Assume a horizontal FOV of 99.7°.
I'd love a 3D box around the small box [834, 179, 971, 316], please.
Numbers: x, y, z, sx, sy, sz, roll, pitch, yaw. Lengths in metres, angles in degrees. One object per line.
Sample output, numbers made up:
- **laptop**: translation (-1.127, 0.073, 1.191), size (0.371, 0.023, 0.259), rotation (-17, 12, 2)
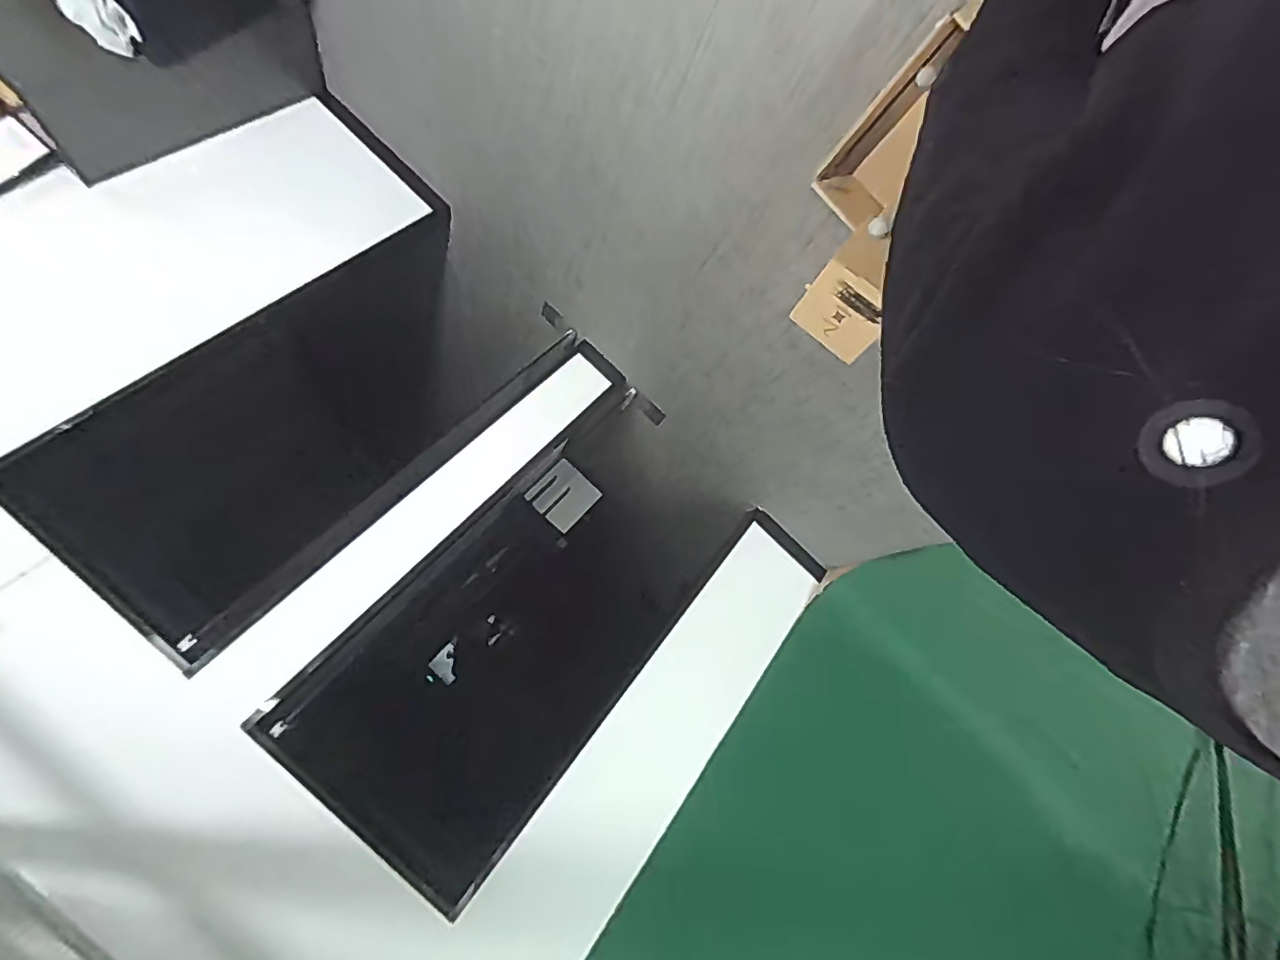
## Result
- **small box**: translation (0.562, -0.497, 1.154), size (0.179, 0.176, 0.168), rotation (41, 154, -1)
